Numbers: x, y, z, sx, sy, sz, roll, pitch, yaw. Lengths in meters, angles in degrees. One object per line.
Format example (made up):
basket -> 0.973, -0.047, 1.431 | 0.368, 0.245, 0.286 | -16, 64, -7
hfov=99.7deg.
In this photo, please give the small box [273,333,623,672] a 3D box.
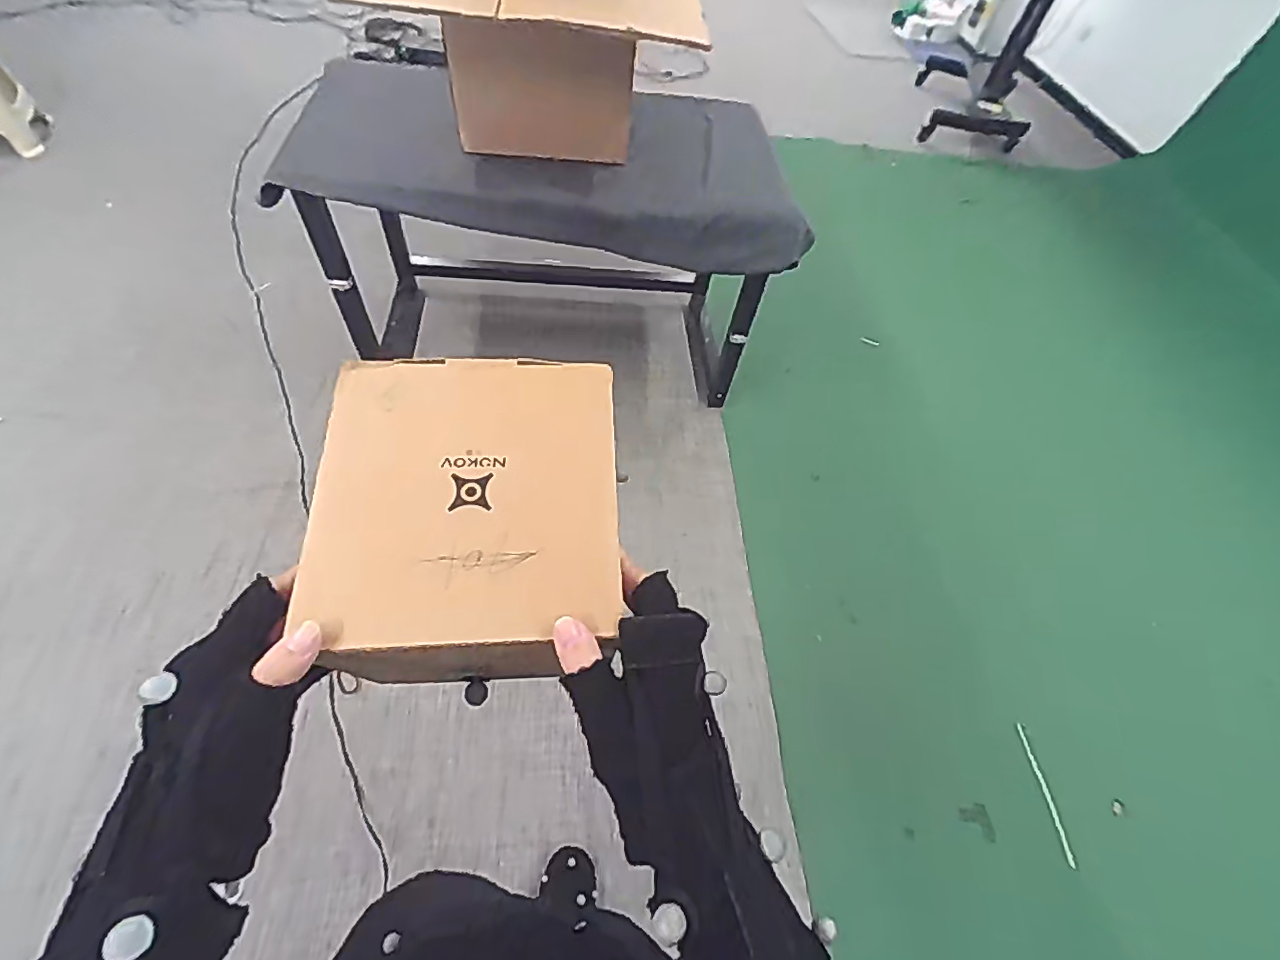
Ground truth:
small box -> -0.103, 0.025, 0.366 | 0.168, 0.176, 0.179 | -1, 65, -7
